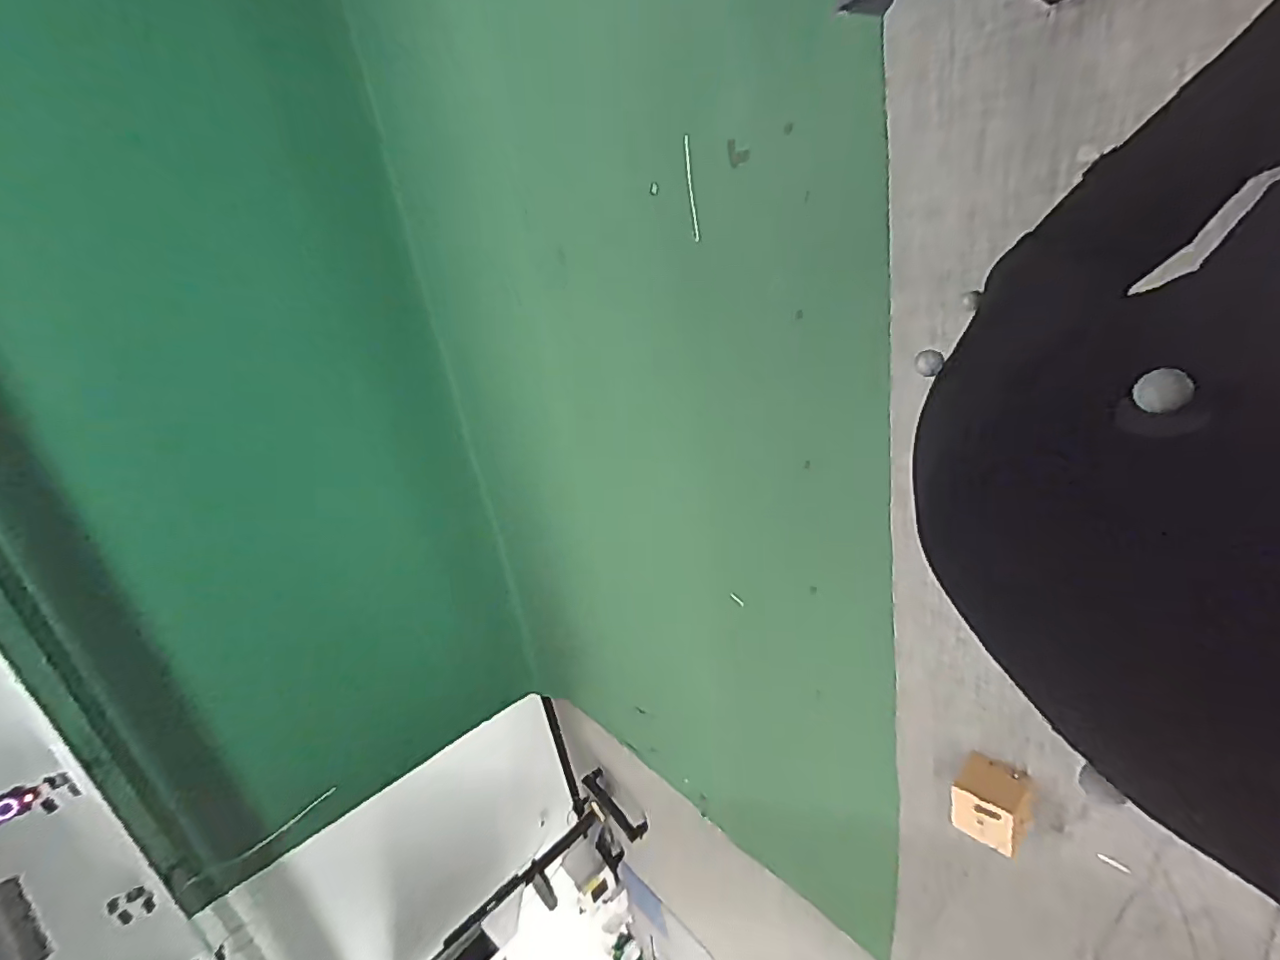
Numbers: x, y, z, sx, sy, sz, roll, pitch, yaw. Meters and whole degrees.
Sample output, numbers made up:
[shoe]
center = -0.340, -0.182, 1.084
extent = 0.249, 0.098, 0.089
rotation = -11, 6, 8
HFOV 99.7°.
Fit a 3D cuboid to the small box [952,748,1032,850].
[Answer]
[small box]
center = 1.086, 0.973, 1.669
extent = 0.168, 0.176, 0.179
rotation = 12, 119, 50
